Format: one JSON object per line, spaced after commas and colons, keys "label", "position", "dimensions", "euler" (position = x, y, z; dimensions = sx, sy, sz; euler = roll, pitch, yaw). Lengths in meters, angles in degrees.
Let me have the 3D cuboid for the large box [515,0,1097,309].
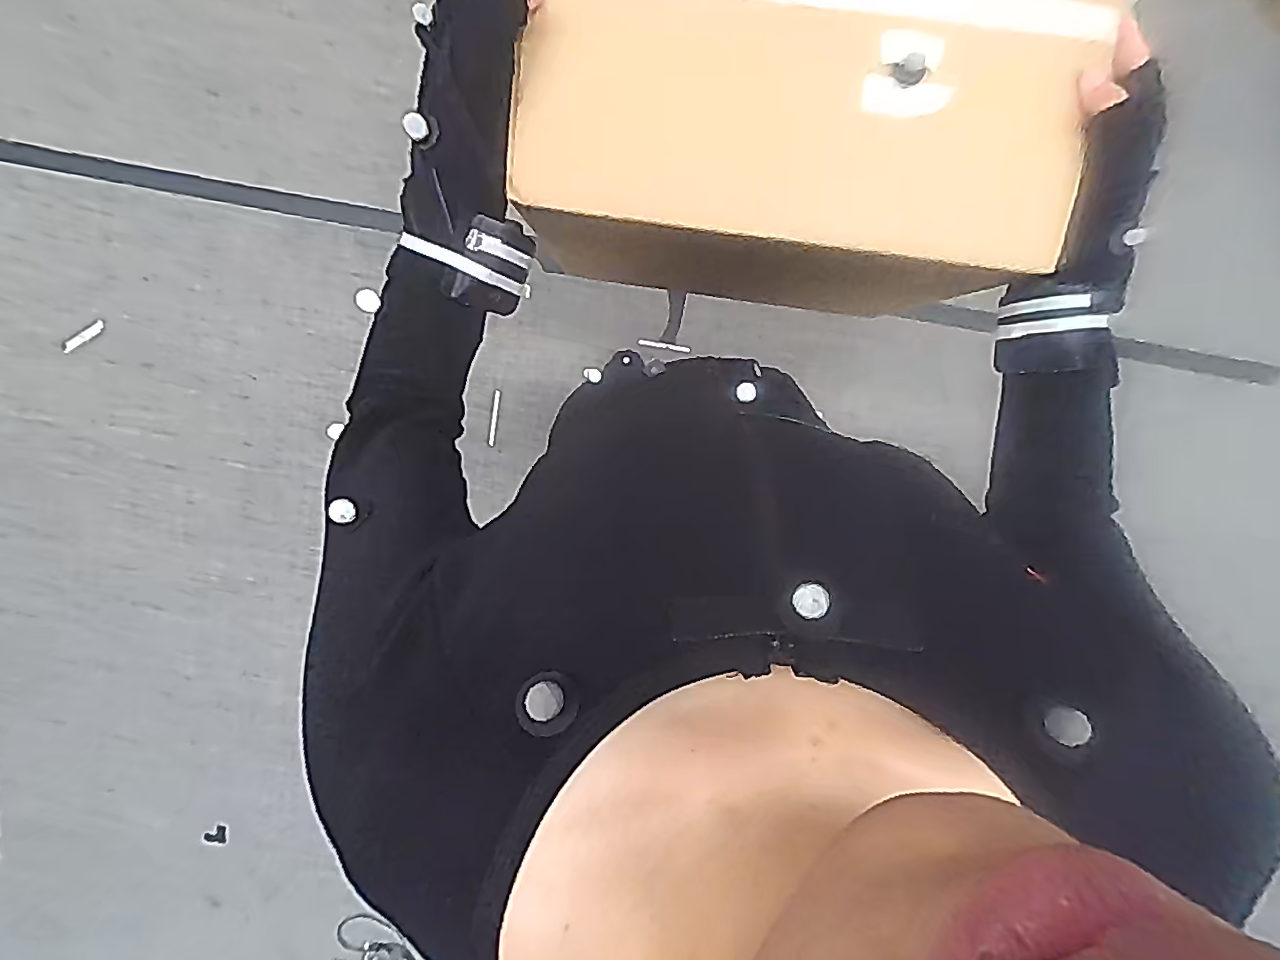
{"label": "large box", "position": [0.117, -0.364, 0.523], "dimensions": [0.408, 0.320, 0.320], "euler": [7, 101, -1]}
